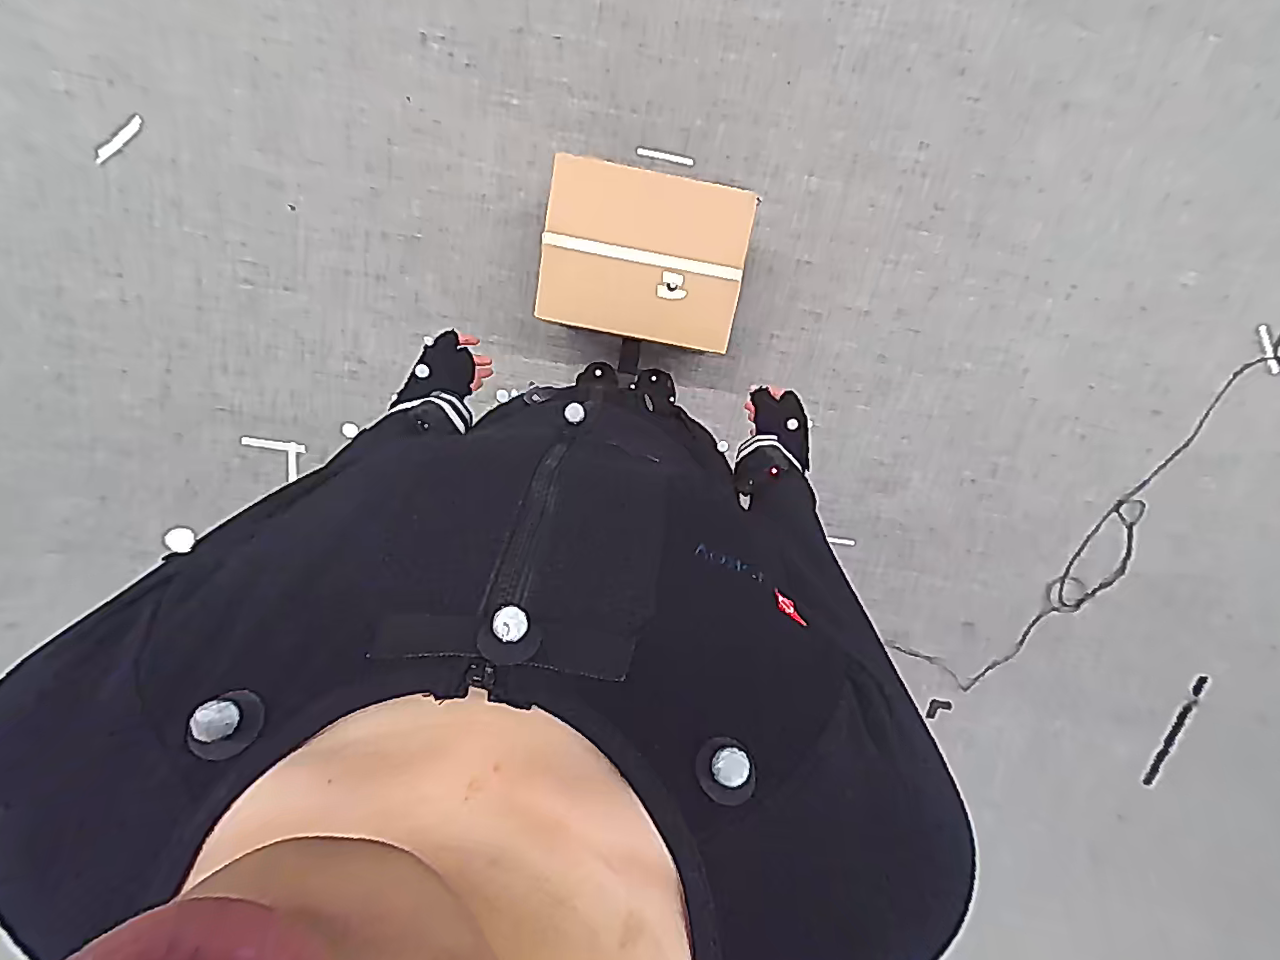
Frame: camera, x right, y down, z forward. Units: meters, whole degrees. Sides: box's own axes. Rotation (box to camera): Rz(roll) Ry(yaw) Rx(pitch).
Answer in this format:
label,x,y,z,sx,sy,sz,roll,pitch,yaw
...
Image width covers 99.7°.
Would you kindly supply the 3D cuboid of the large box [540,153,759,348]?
label,x,y,z,sx,sy,sz,roll,pitch,yaw
large box,0.010,-0.486,1.220,0.408,0.320,0.320,10,104,-3
